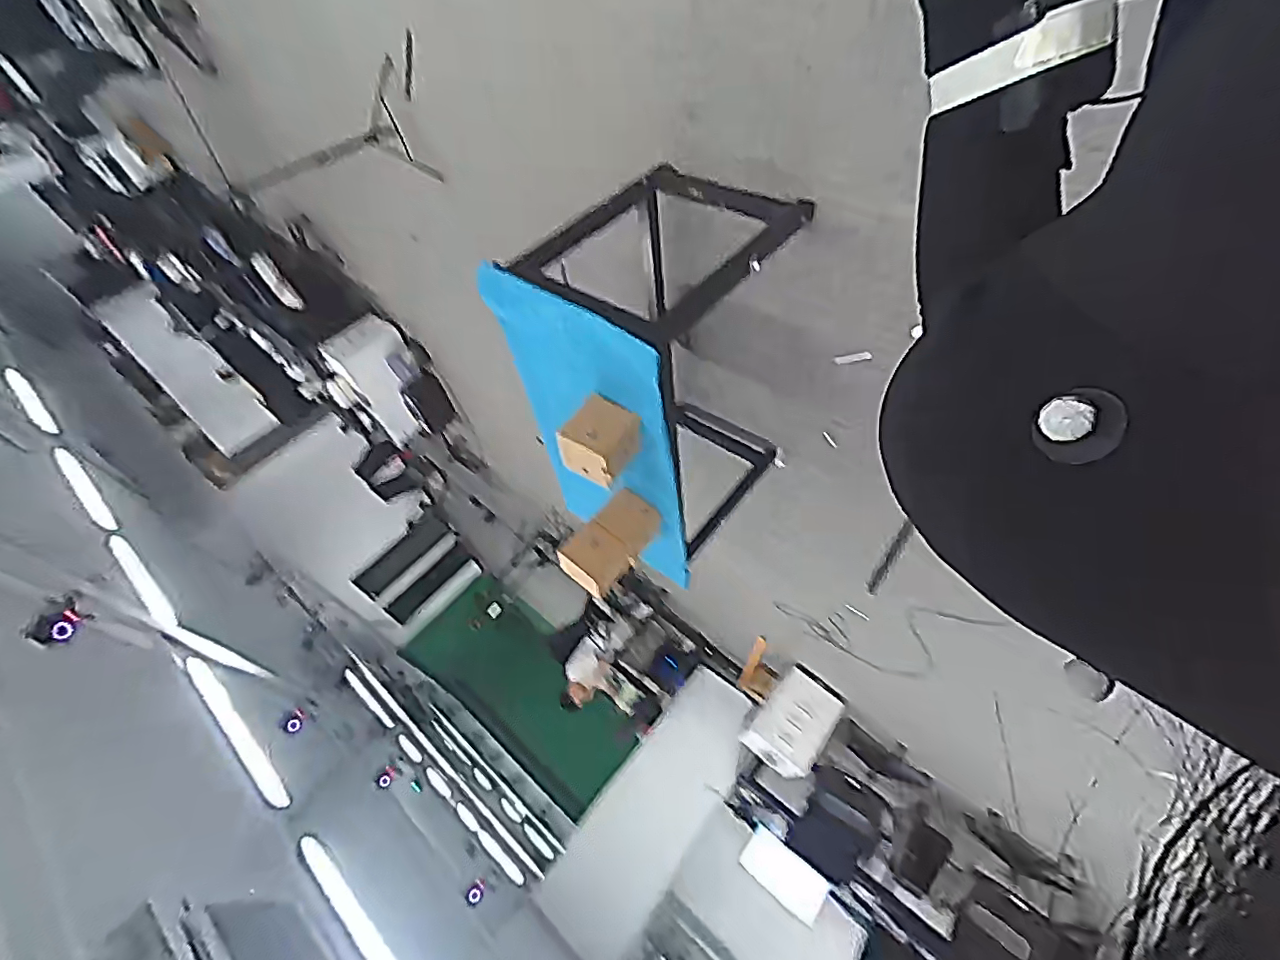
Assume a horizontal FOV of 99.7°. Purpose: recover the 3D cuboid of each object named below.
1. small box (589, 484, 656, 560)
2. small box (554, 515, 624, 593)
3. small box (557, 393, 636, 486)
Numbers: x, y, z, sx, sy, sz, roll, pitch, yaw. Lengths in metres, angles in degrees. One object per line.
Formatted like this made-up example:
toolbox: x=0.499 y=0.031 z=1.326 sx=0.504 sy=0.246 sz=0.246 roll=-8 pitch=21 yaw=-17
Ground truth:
small box: x=-0.061 y=0.155 z=1.934 sx=0.179 sy=0.176 sz=0.168 roll=33 pitch=153 yaw=22
small box: x=-0.173 y=0.262 z=1.876 sx=0.179 sy=0.176 sz=0.168 roll=34 pitch=153 yaw=18
small box: x=-0.128 y=-0.119 z=1.573 sx=0.176 sy=0.179 sz=0.168 roll=28 pitch=151 yaw=16
